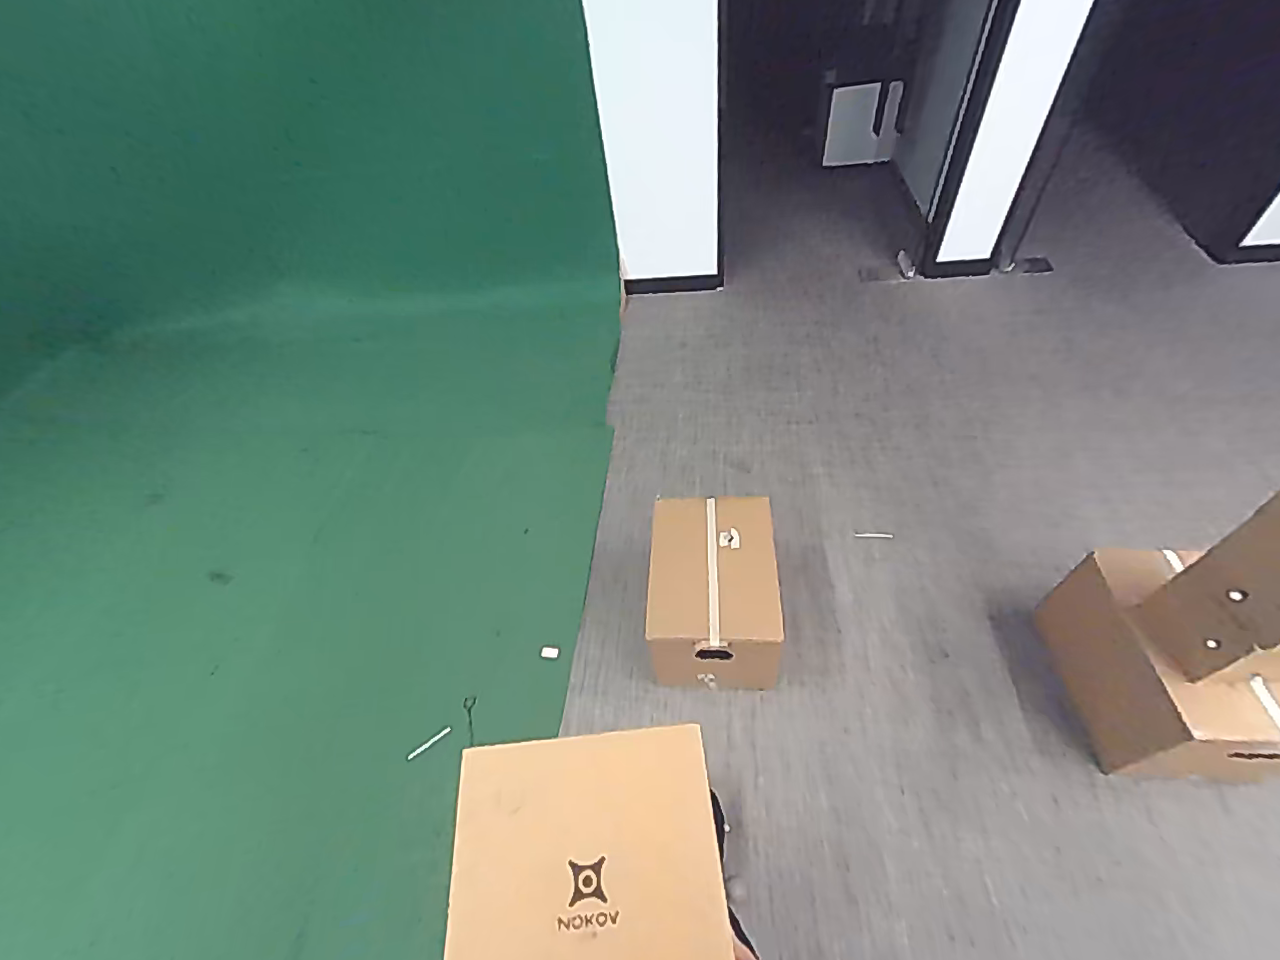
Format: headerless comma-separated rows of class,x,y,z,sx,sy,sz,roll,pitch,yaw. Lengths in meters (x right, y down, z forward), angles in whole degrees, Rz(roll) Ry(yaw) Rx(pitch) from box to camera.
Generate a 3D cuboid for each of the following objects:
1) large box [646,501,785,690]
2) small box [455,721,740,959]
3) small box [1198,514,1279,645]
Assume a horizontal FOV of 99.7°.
large box,0.198,0.310,1.442,0.320,0.320,0.408,-1,49,8
small box,-0.027,0.294,0.394,0.168,0.176,0.179,-5,54,-2
small box,1.112,0.162,0.893,0.168,0.176,0.179,-8,50,3
